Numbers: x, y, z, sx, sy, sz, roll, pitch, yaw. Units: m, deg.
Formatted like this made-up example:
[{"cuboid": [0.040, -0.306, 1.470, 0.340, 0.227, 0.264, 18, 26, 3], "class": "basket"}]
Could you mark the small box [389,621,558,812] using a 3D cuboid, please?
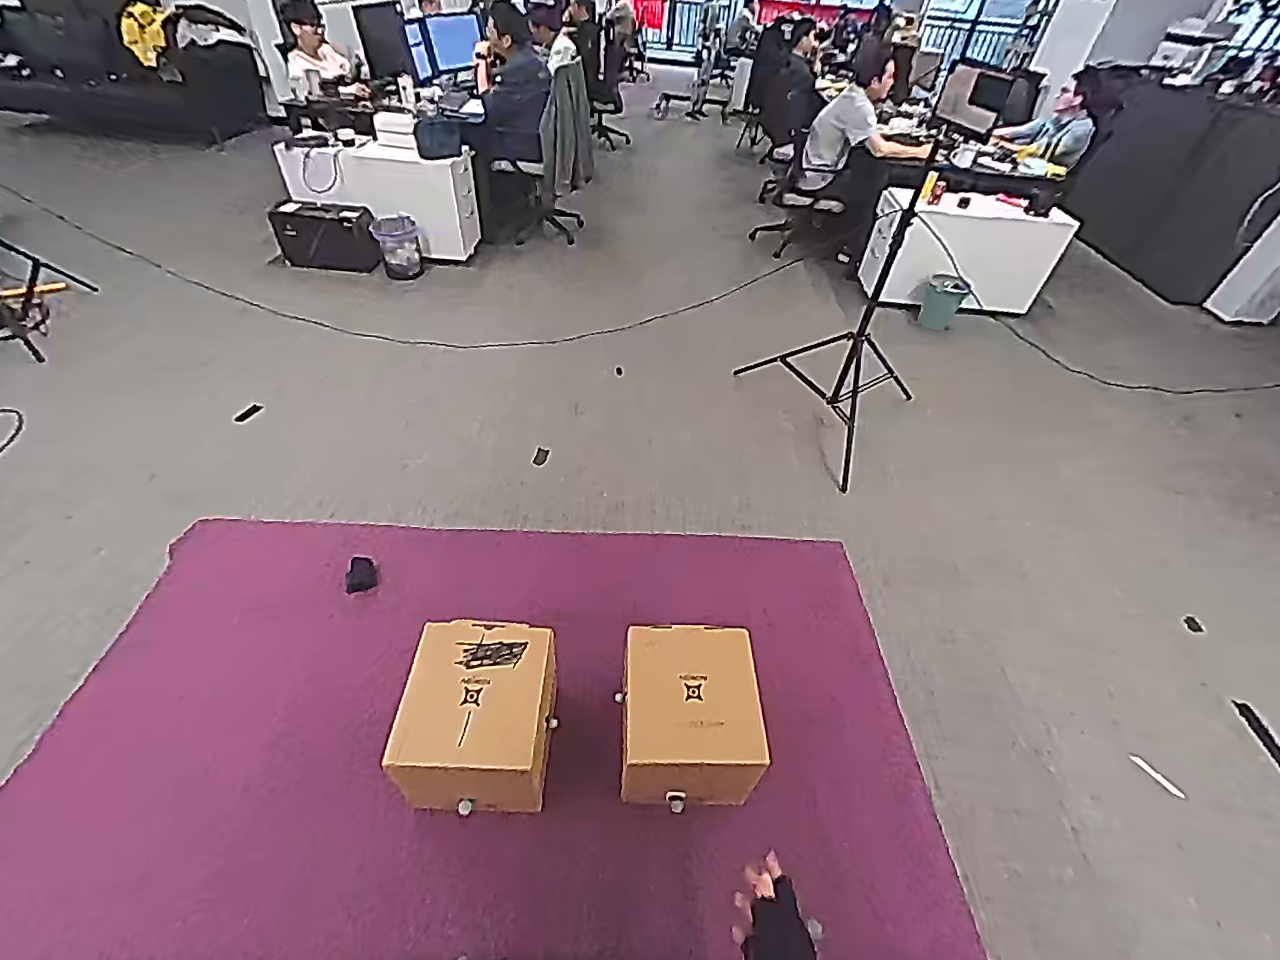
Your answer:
[{"cuboid": [-0.199, 0.309, 0.707, 0.168, 0.176, 0.179, 3, 45, -2], "class": "small box"}]

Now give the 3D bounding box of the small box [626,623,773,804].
[{"cuboid": [0.066, 0.314, 0.730, 0.168, 0.176, 0.179, 1, 45, -3], "class": "small box"}]
